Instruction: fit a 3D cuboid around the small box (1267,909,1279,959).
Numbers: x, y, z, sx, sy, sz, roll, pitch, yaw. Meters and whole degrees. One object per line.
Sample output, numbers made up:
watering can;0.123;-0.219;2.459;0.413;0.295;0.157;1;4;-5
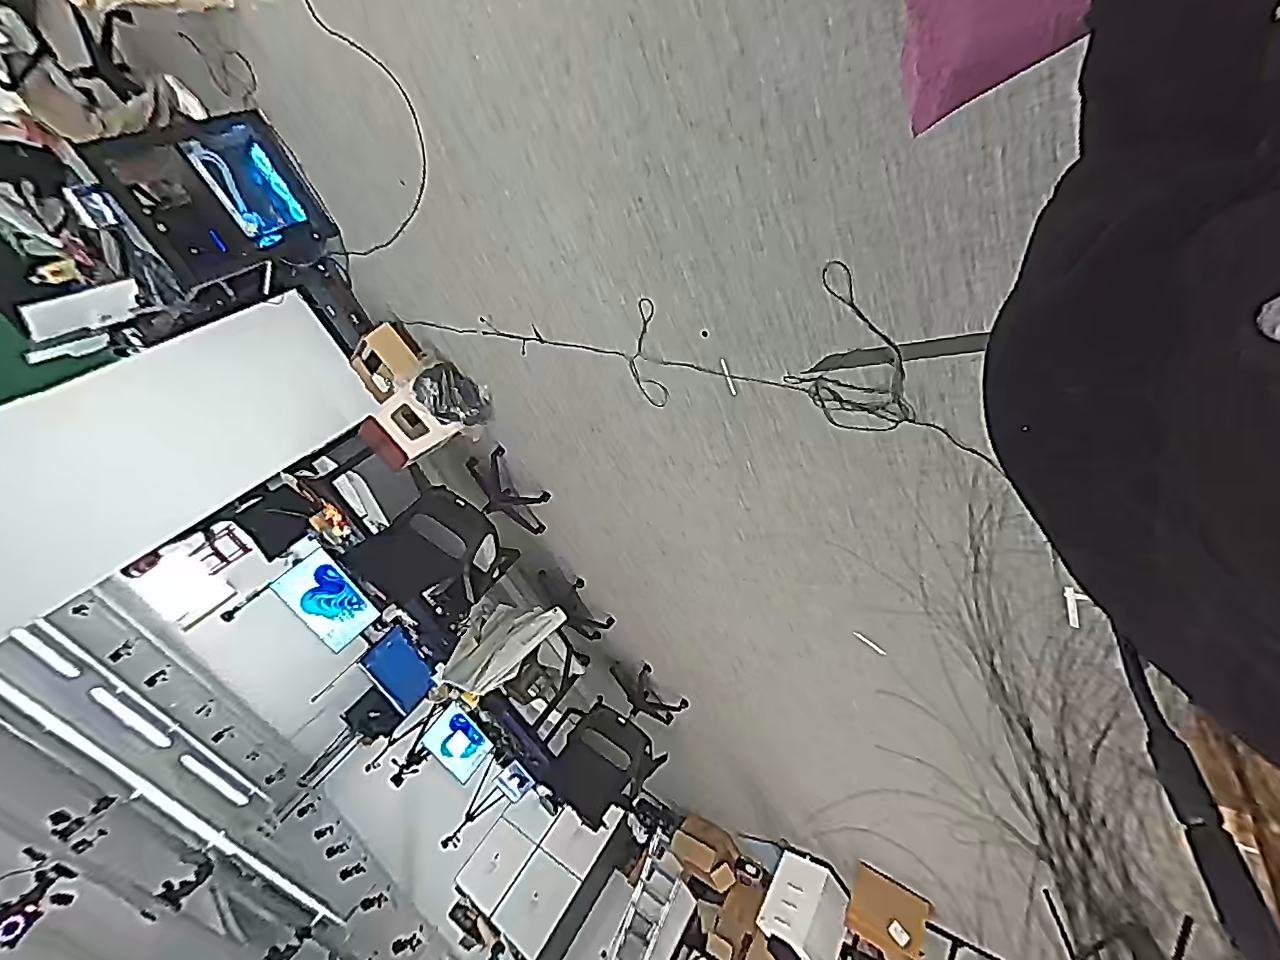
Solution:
small box;1.558;1.115;1.216;0.168;0.176;0.179;6;130;40
